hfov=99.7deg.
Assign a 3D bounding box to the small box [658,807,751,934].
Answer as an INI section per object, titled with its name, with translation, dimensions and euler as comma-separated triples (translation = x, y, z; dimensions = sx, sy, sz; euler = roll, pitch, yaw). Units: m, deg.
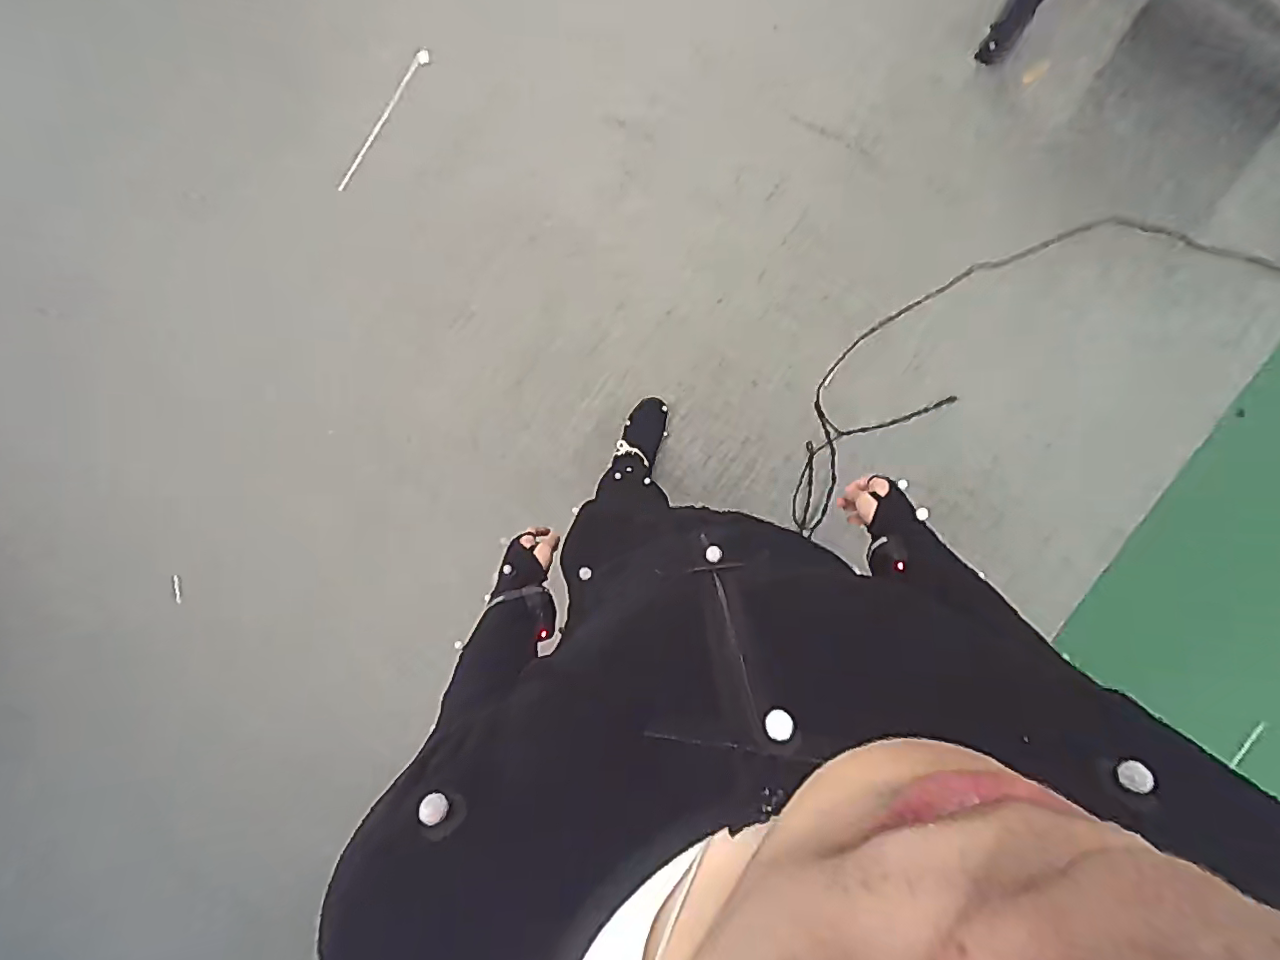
[small box]
translation = 0.162, 1.015, 1.423
dimensions = 0.168, 0.176, 0.179
euler = 40, 95, 0
